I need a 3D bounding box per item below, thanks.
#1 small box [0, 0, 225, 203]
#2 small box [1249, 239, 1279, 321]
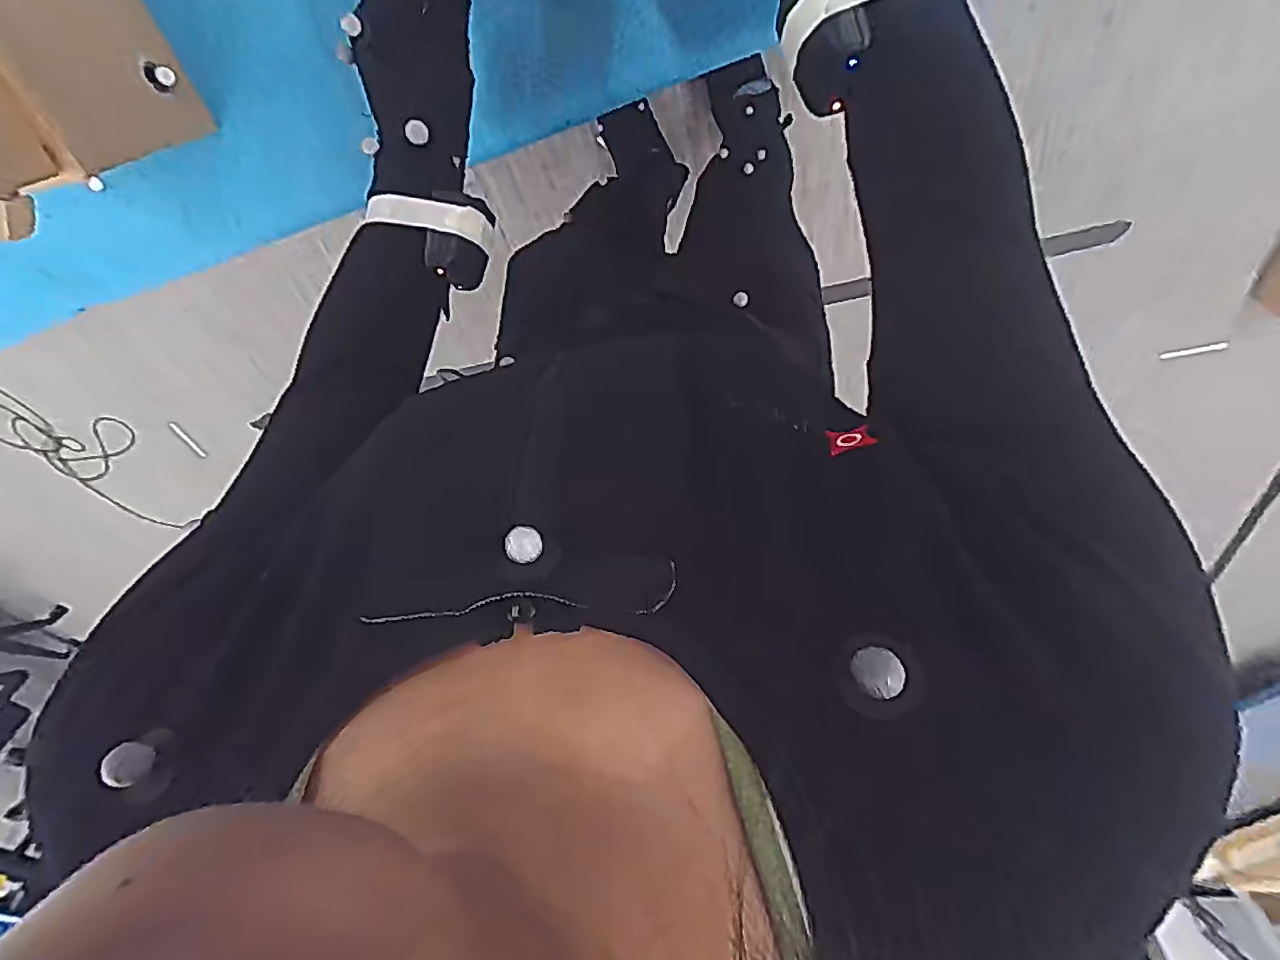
[{"bbox_3d":[-0.494,-0.331,0.416,0.168,0.176,0.179,-7,132,9],"label":"small box"},{"bbox_3d":[1.547,-0.459,1.208,0.168,0.176,0.179,-8,134,9],"label":"small box"}]
